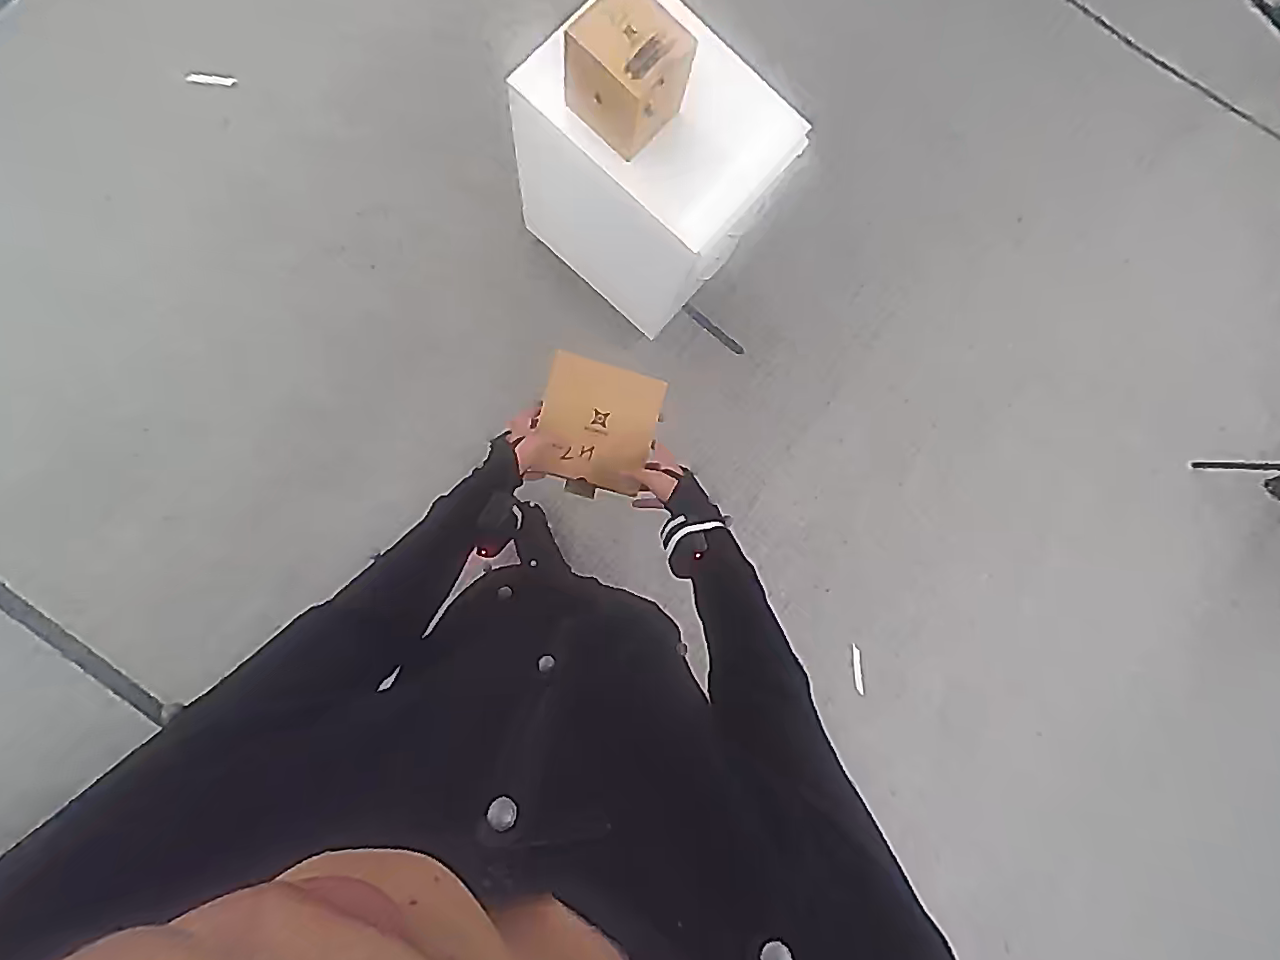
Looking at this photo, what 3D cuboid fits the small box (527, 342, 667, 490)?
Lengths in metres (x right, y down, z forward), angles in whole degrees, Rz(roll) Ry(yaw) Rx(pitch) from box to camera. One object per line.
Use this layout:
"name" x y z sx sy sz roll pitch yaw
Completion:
"small box" -0.072 -0.091 0.848 0.168 0.176 0.179 16 89 -8
